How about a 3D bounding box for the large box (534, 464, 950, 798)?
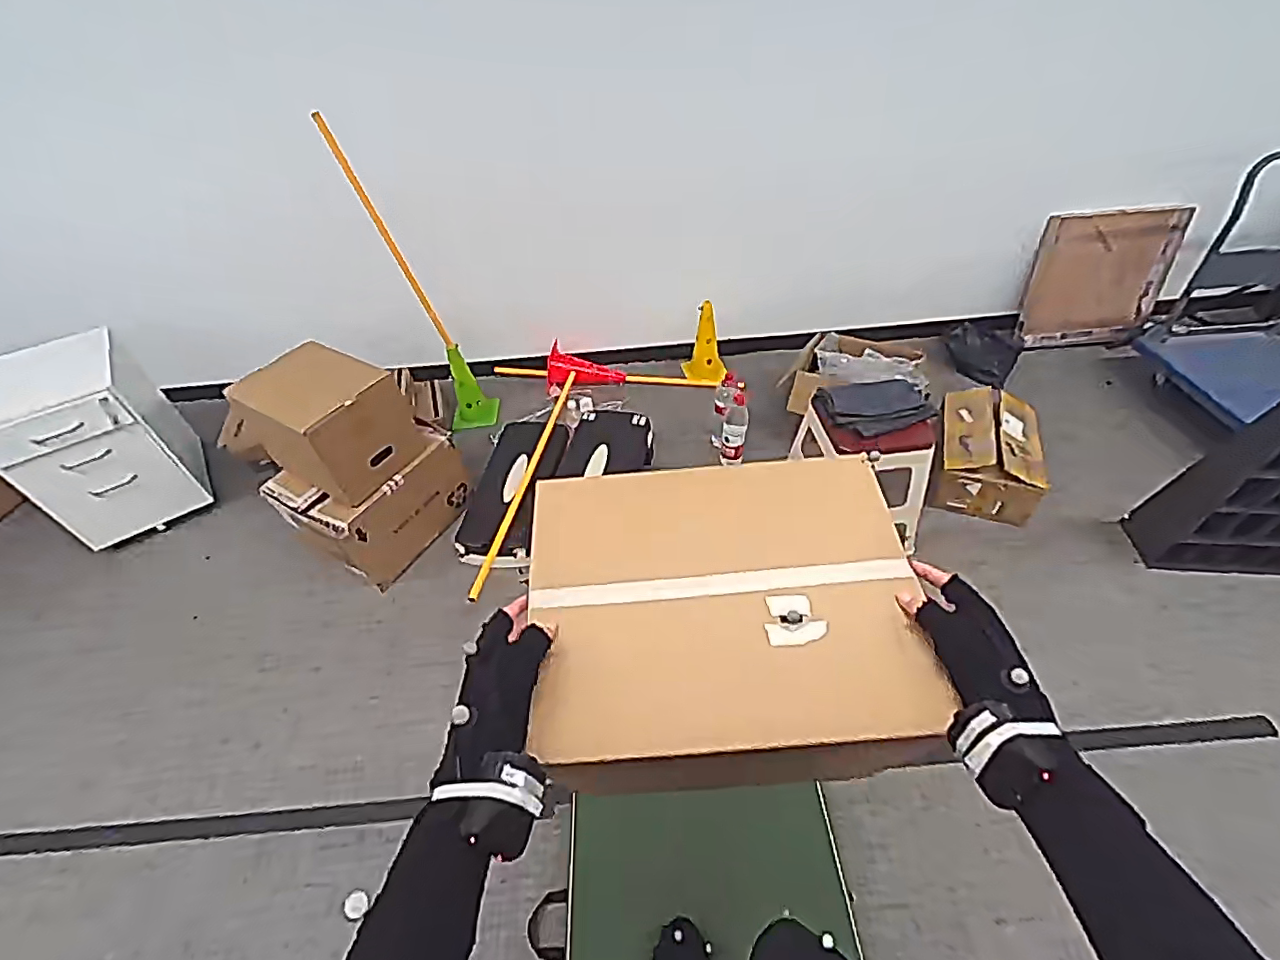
[{"bbox_3d":[0.091,0.208,0.711,0.408,0.320,0.320,-5,54,0],"label":"large box"}]
